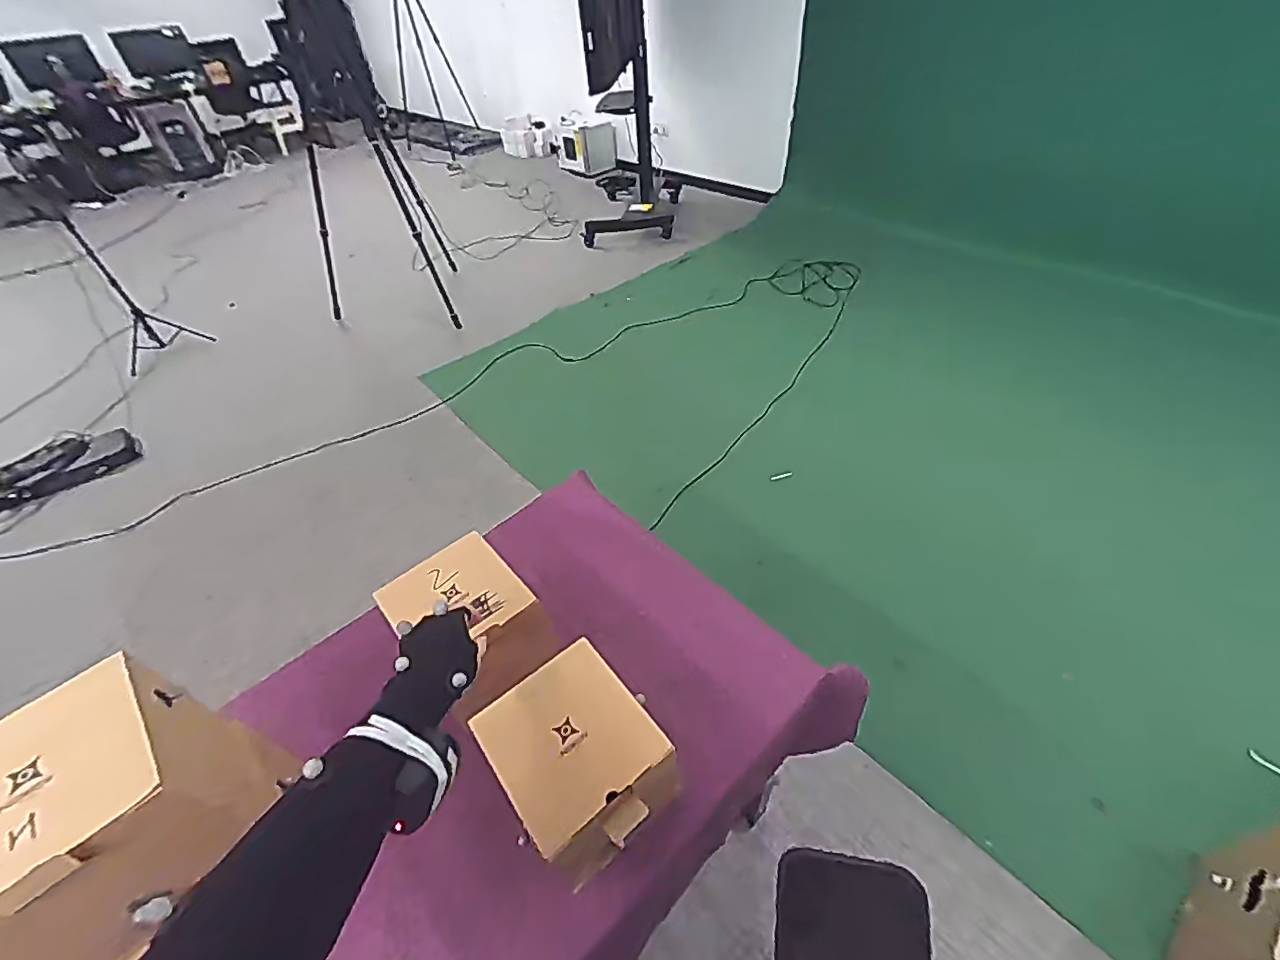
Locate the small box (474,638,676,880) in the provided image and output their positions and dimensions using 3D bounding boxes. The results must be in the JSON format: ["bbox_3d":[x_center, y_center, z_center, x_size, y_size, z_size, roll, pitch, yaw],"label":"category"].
[{"bbox_3d":[-0.072,0.336,0.656,0.168,0.176,0.179,-32,51,-24],"label":"small box"}]

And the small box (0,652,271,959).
[{"bbox_3d":[-0.489,0.304,0.498,0.168,0.176,0.179,-37,52,-27],"label":"small box"}]
